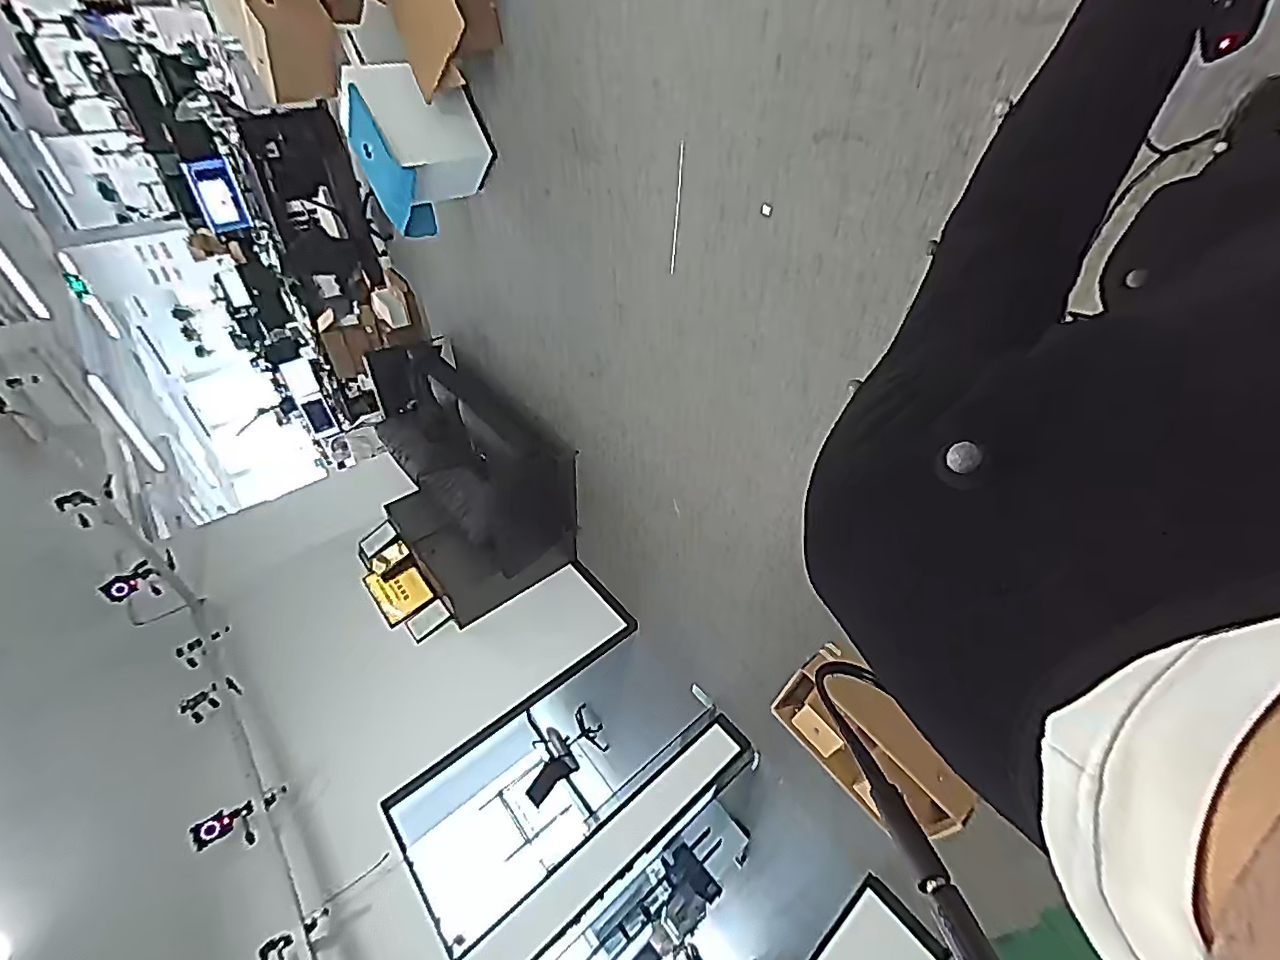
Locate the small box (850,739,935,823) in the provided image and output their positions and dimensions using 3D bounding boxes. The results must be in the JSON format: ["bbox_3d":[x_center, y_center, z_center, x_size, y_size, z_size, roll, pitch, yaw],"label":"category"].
[{"bbox_3d":[0.855,1.017,1.829,0.168,0.176,0.179,44,146,25],"label":"small box"}]

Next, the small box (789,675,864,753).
[{"bbox_3d":[0.678,0.843,1.957,0.168,0.176,0.179,43,146,27],"label":"small box"}]
